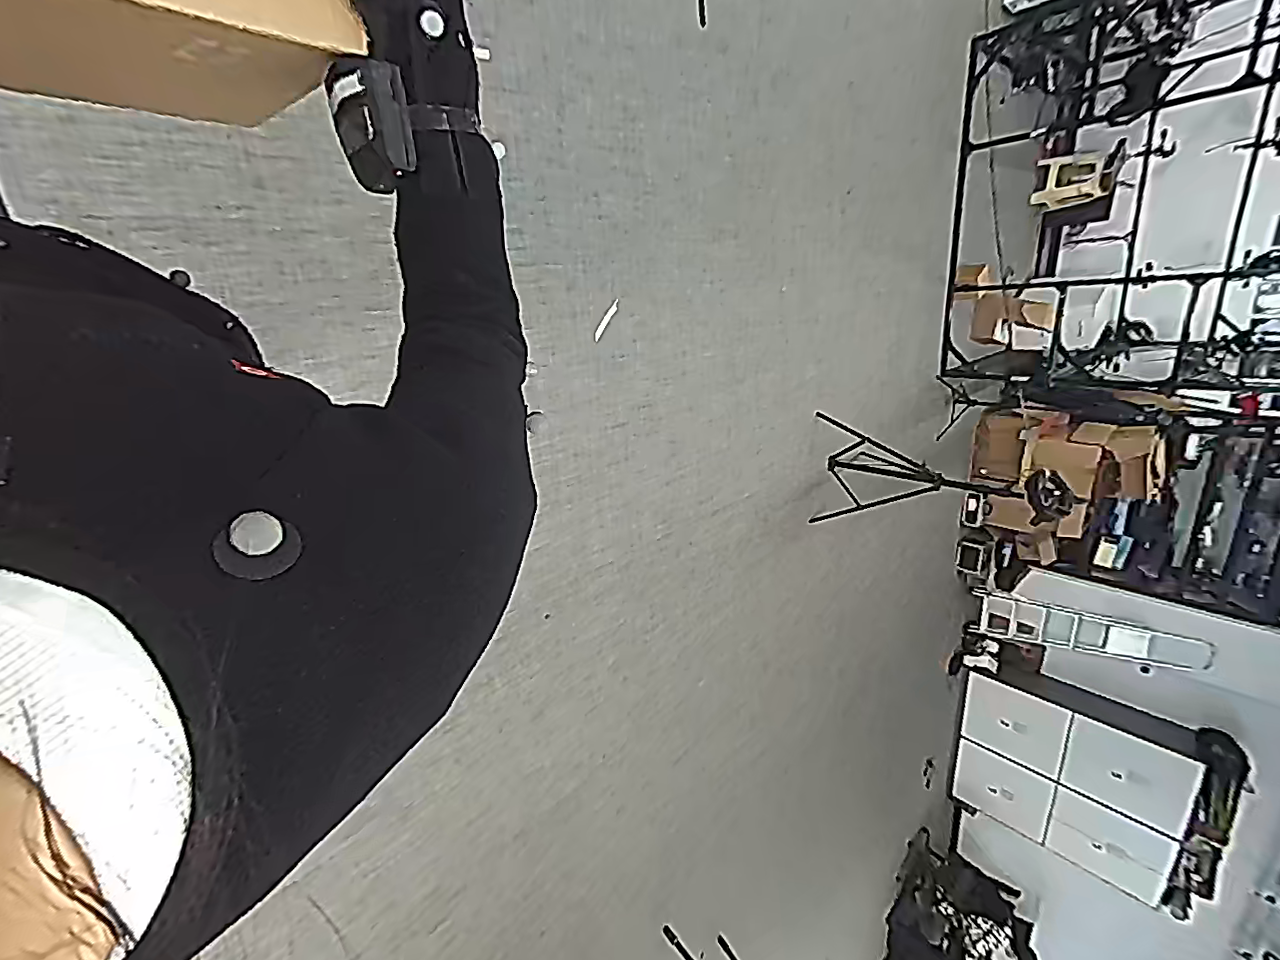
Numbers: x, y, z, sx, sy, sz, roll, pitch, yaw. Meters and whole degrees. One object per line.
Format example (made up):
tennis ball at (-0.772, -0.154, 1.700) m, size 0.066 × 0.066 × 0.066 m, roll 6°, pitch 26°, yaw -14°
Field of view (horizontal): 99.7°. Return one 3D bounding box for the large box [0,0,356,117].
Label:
large box at (-0.419, -0.399, 0.247) m, size 0.408 × 0.320 × 0.320 m, roll -20°, pitch 122°, yaw -41°
